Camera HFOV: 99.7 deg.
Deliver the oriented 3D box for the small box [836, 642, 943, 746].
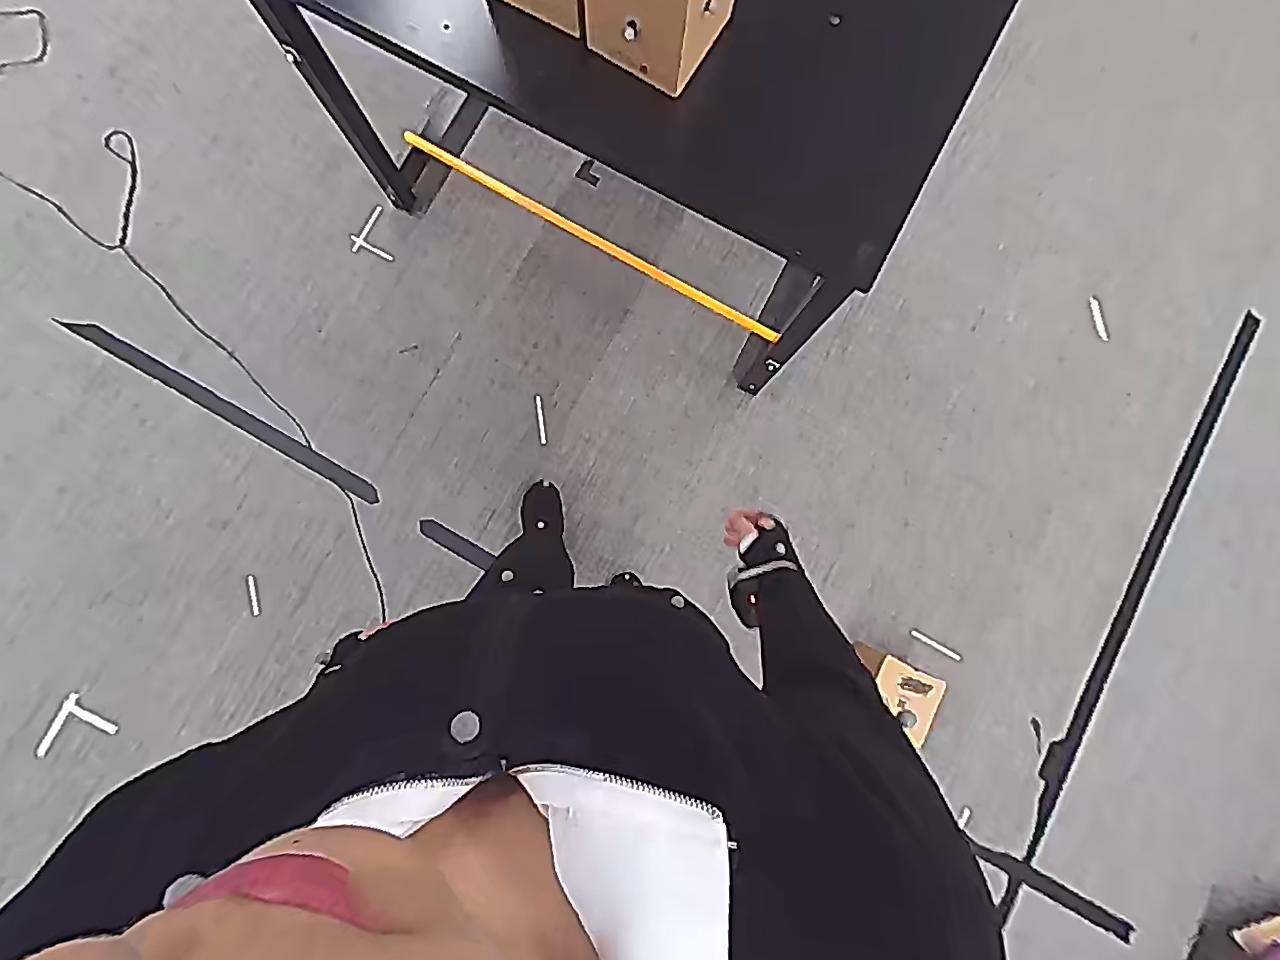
[{"bbox_3d":[0.638,0.544,1.405,0.168,0.176,0.179,26,85,1],"label":"small box"}]
